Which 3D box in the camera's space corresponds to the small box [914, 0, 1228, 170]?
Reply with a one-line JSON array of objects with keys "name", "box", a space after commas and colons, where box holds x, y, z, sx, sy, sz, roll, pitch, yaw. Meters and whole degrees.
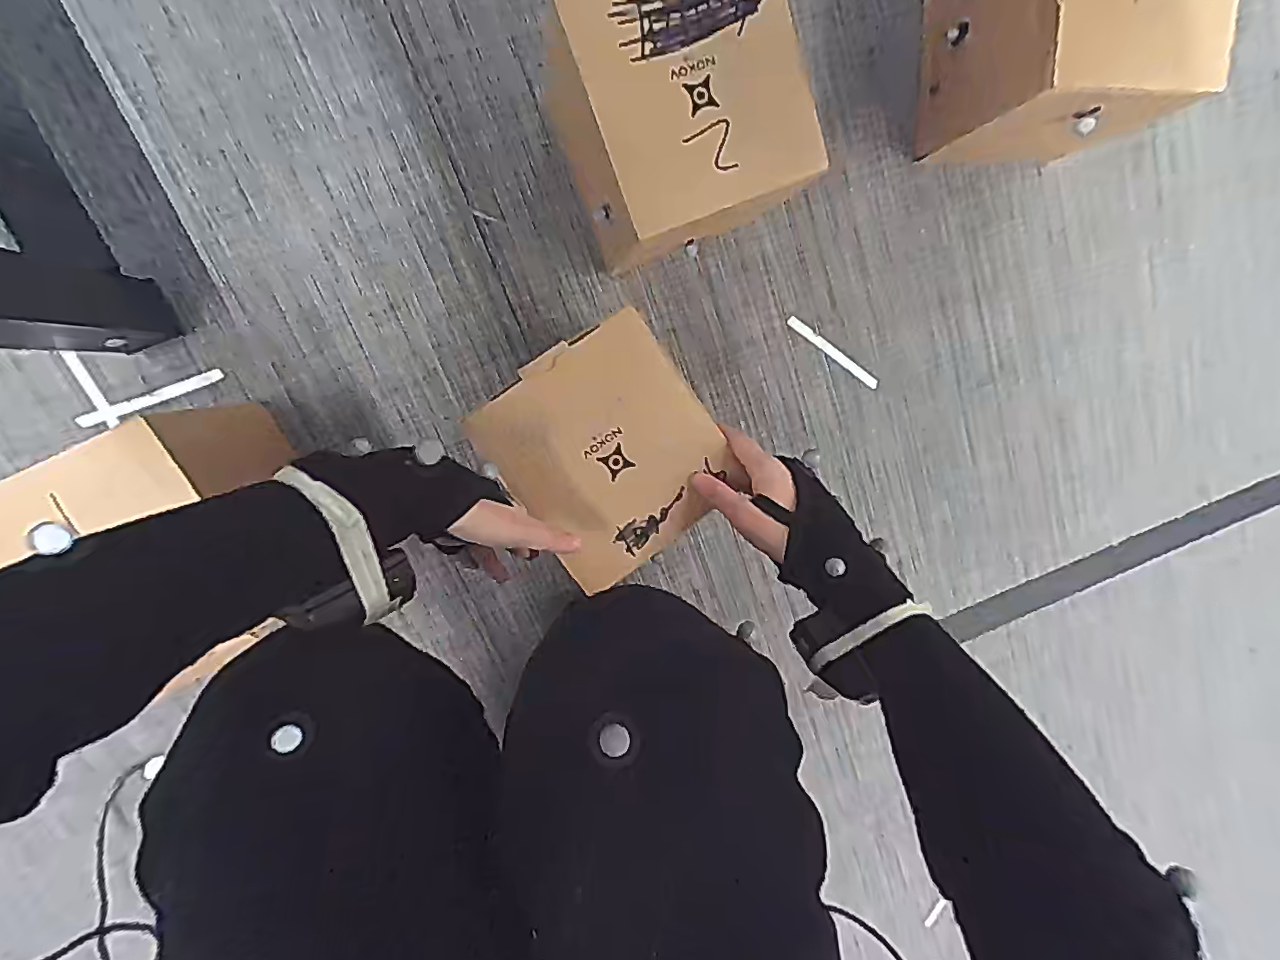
[{"name": "small box", "box": [0.403, -0.417, 0.523, 0.179, 0.176, 0.168, -5, 102, -9]}]
